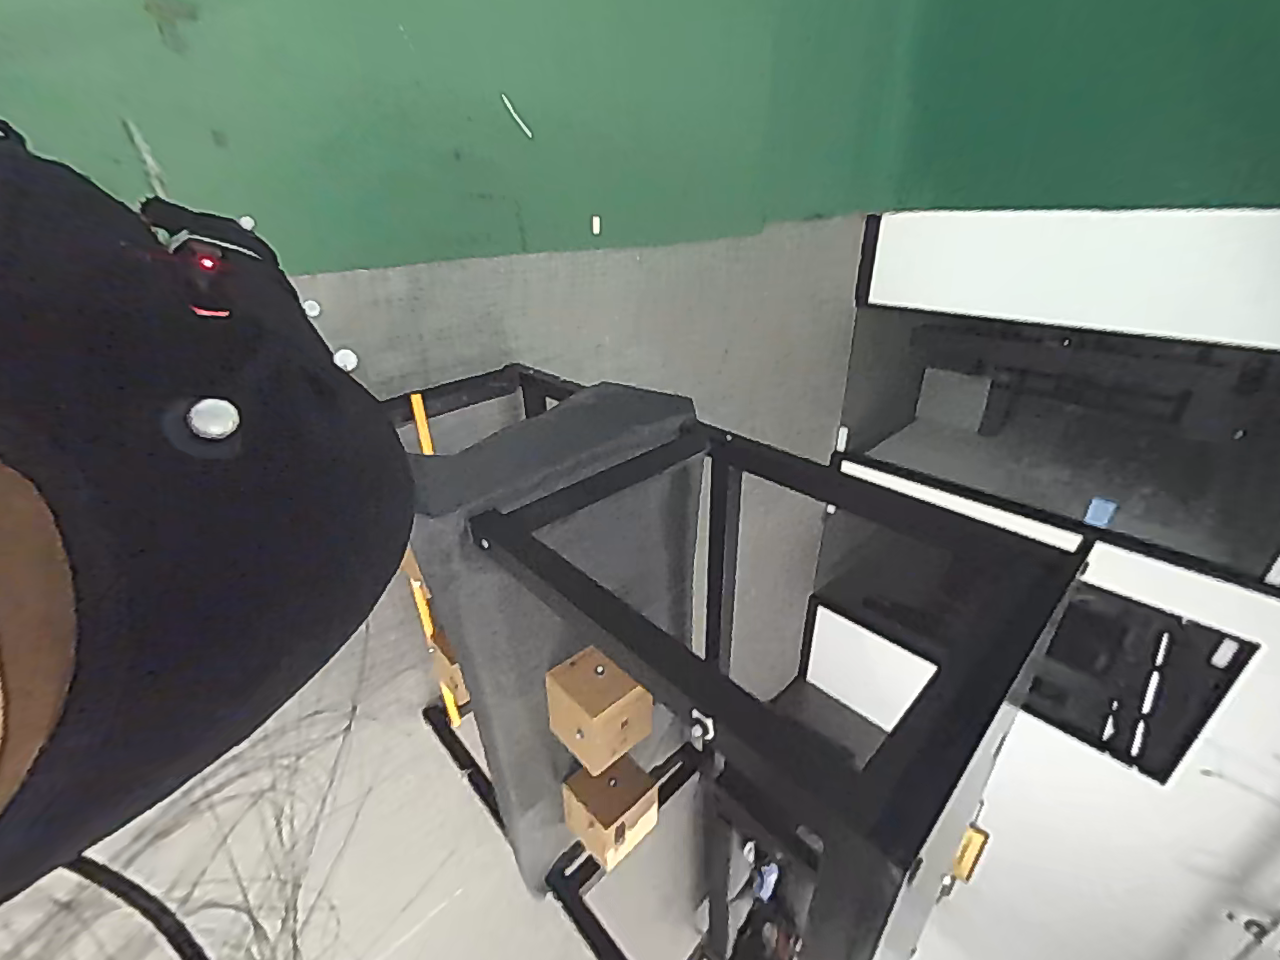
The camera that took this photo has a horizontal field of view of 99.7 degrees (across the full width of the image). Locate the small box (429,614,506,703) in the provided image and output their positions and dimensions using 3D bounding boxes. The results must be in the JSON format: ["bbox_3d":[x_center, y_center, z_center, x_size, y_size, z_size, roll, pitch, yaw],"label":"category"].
[{"bbox_3d":[-0.548,0.557,1.707,0.179,0.176,0.168,-22,124,-38],"label":"small box"}]

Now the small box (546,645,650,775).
[{"bbox_3d":[-0.094,0.493,1.196,0.168,0.176,0.179,-22,124,-38],"label":"small box"}]
